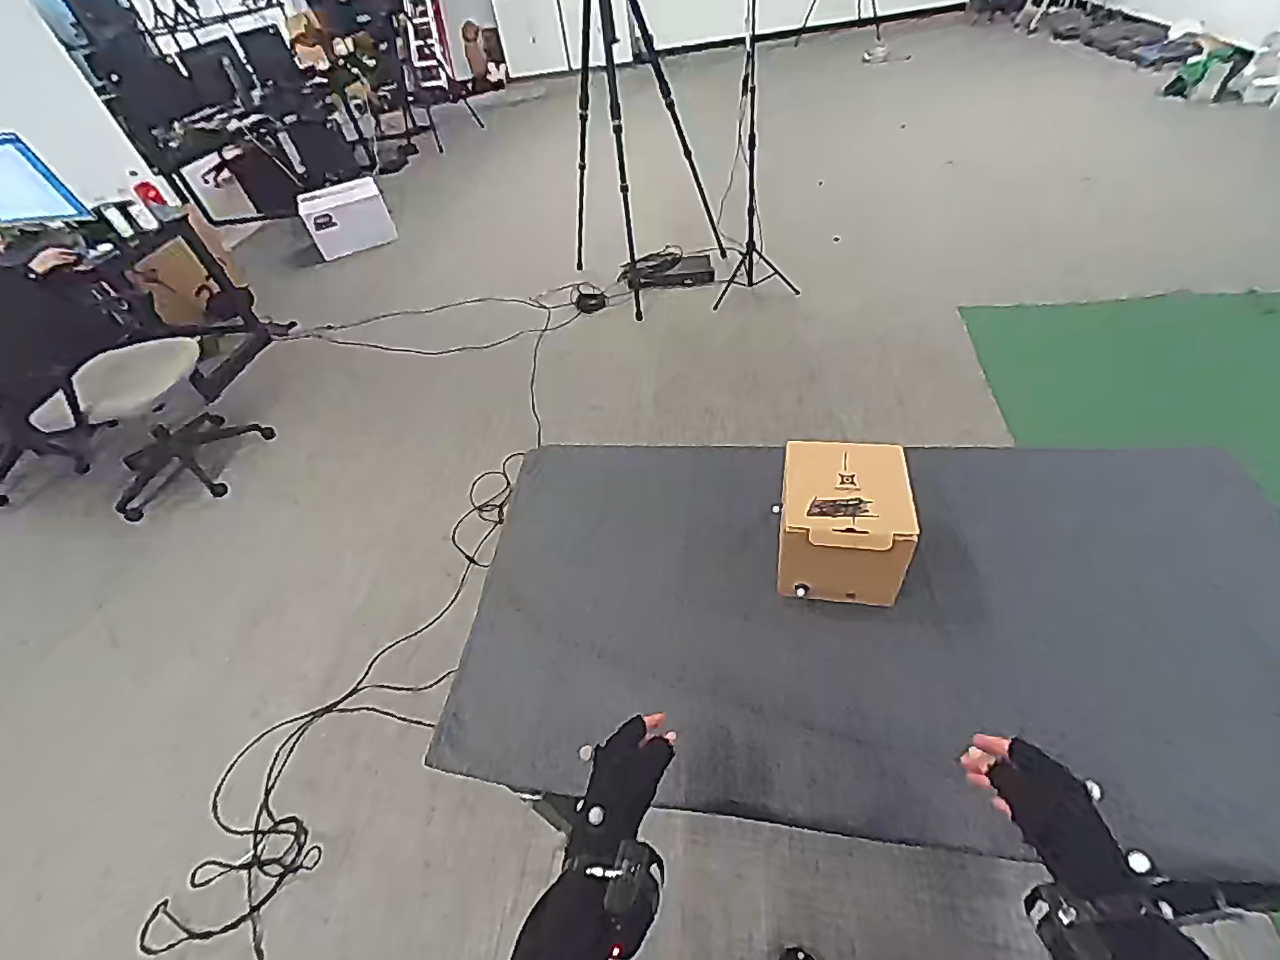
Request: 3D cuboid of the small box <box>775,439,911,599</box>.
[{"bbox_3d":[0.293,0.059,0.810,0.168,0.176,0.179,4,47,13],"label":"small box"}]
